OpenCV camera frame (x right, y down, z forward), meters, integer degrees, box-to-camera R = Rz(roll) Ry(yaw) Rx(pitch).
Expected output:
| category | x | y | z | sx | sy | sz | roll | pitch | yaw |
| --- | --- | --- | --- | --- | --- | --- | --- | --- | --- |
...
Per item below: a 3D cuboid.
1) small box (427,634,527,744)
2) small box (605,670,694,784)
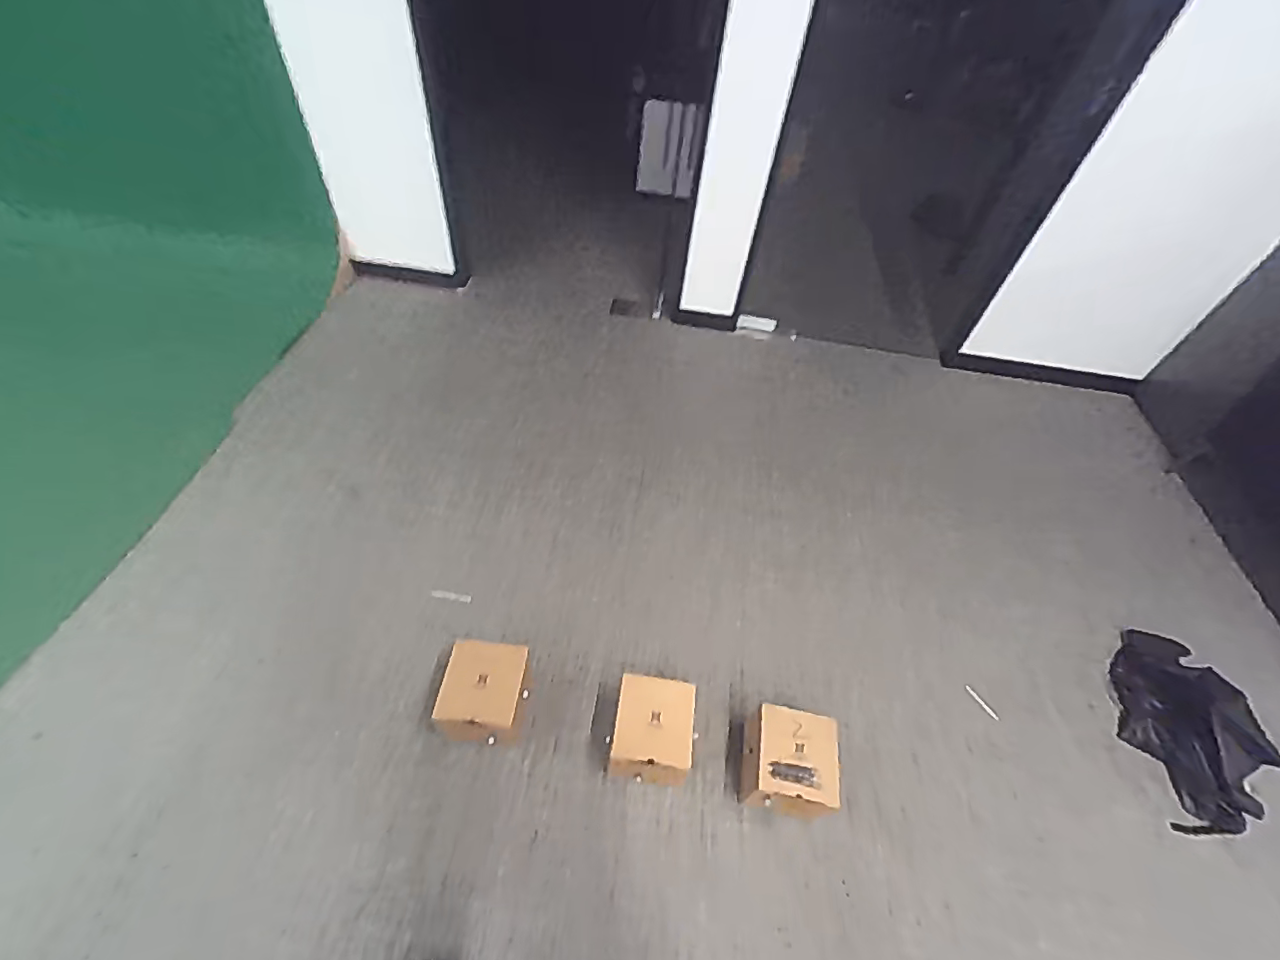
| category | x | y | z | sx | sy | sz | roll | pitch | yaw |
| --- | --- | --- | --- | --- | --- | --- | --- | --- | --- |
| small box | -0.349 | 0.467 | 1.199 | 0.168 | 0.176 | 0.179 | 8 | 49 | -2 |
| small box | 0.018 | 0.544 | 1.186 | 0.168 | 0.176 | 0.179 | 9 | 50 | 0 |
